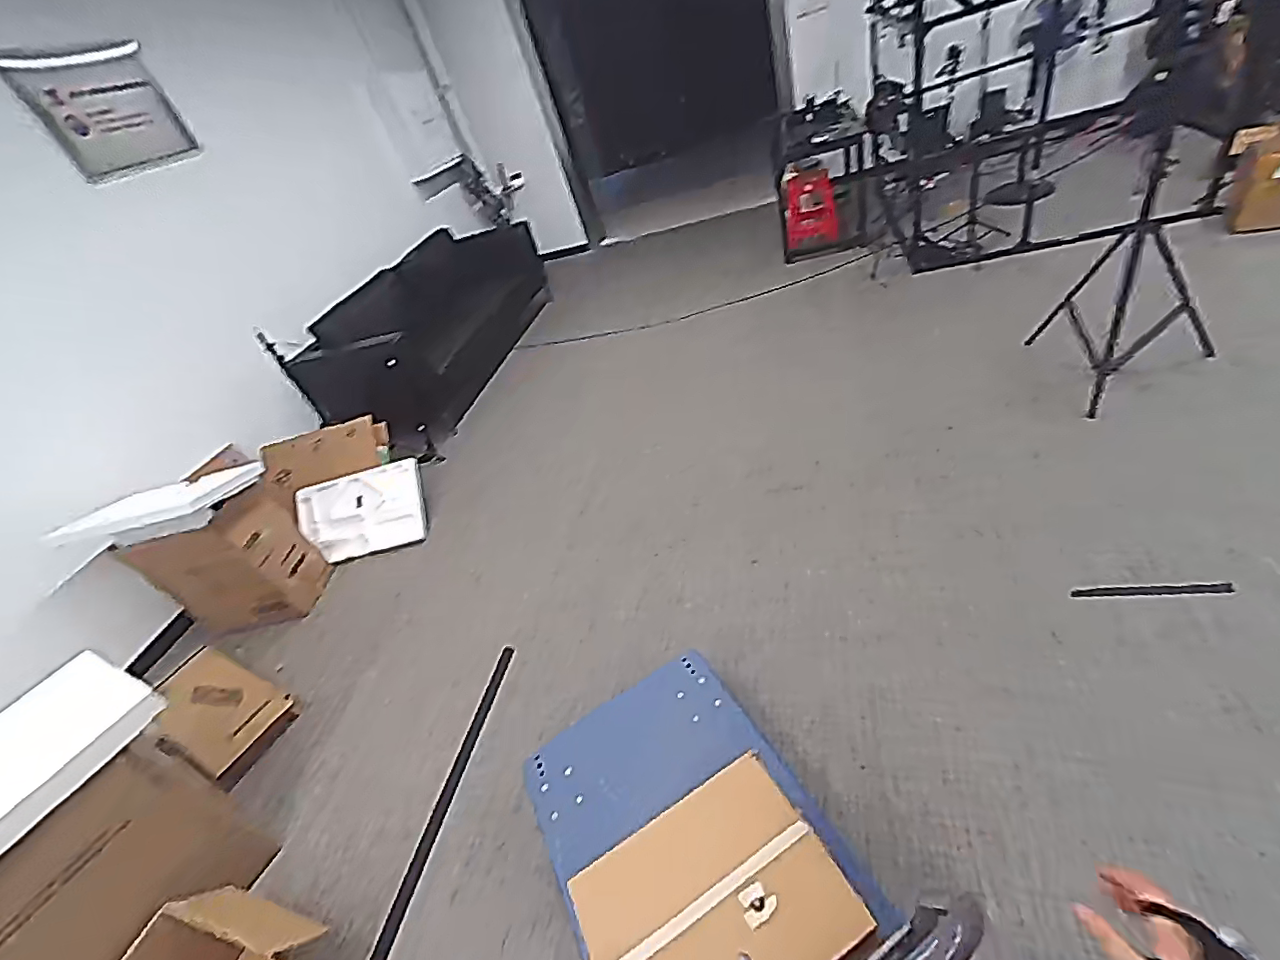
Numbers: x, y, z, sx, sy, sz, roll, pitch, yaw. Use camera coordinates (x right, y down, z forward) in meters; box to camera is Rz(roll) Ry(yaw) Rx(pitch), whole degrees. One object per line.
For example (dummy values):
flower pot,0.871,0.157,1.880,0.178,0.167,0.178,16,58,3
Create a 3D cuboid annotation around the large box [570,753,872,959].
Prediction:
large box,0.149,0.797,0.961,0.408,0.320,0.320,-29,38,-13
